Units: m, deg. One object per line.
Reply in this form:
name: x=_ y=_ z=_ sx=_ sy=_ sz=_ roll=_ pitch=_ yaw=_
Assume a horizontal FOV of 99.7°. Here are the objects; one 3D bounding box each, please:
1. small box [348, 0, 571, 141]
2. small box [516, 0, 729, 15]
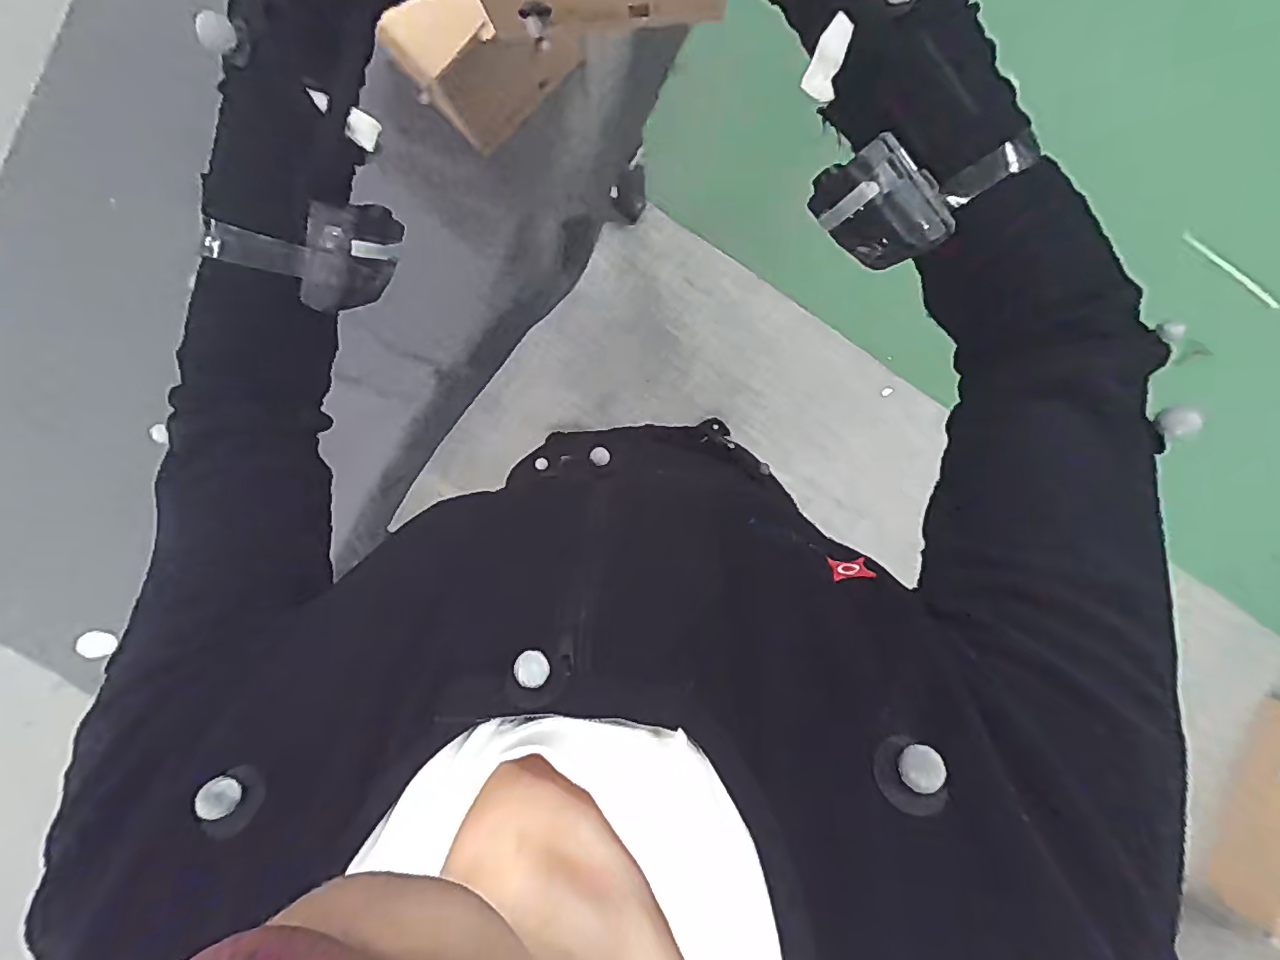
small box: x=-0.196 y=-0.510 z=0.583 sx=0.168 sy=0.176 sz=0.179 roll=-44 pitch=93 yaw=6
small box: x=-0.020 y=-0.390 z=0.288 sx=0.168 sy=0.176 sz=0.179 roll=-2 pitch=103 yaw=3
